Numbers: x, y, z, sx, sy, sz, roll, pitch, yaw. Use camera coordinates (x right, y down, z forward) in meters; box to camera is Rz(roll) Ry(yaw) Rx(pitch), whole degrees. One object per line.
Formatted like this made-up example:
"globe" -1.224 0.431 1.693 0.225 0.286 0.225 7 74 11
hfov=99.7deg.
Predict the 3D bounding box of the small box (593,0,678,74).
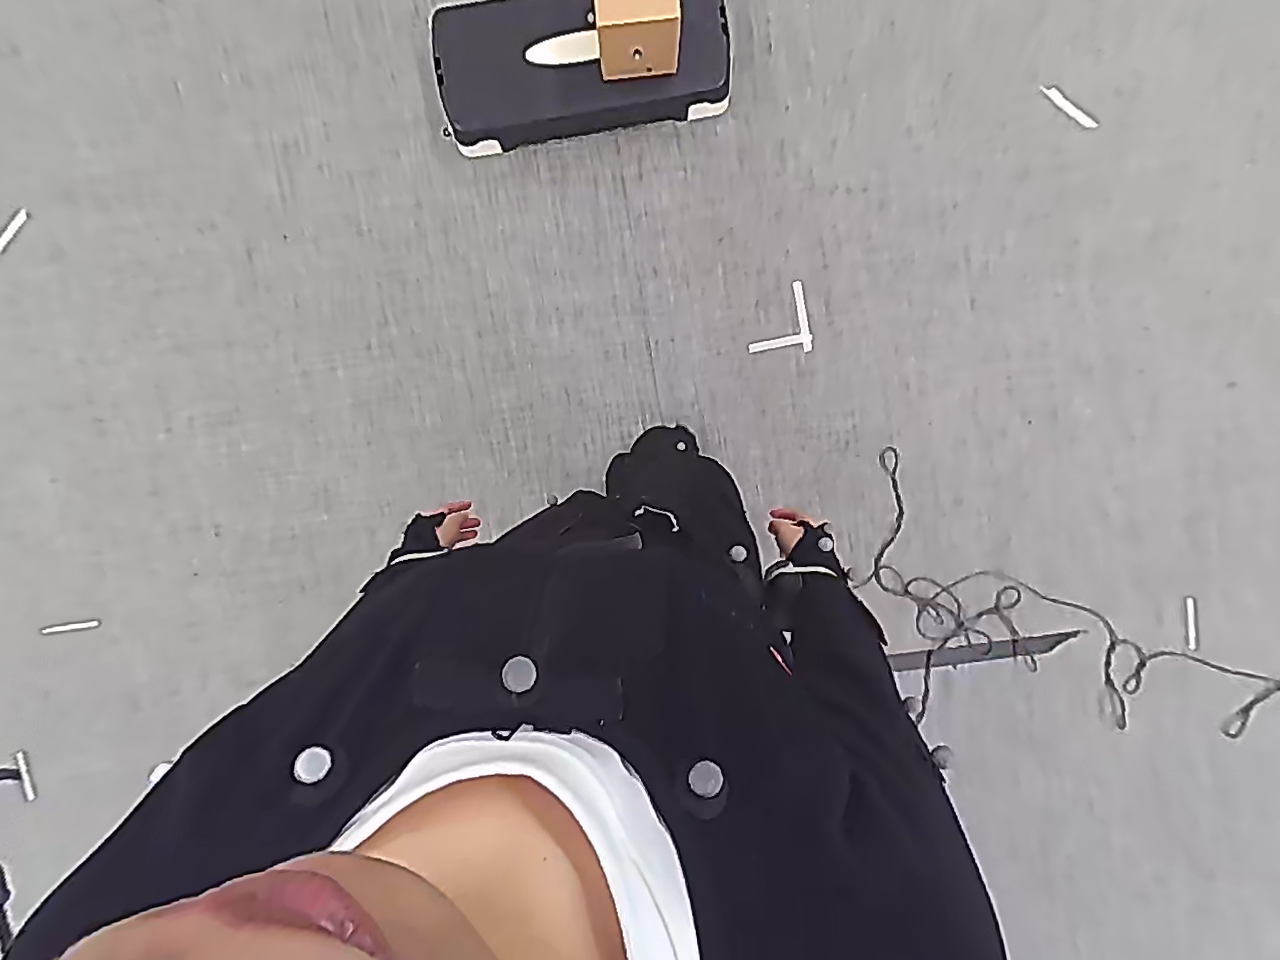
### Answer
"small box" -0.010 -0.975 1.113 0.168 0.176 0.179 -5 95 1
